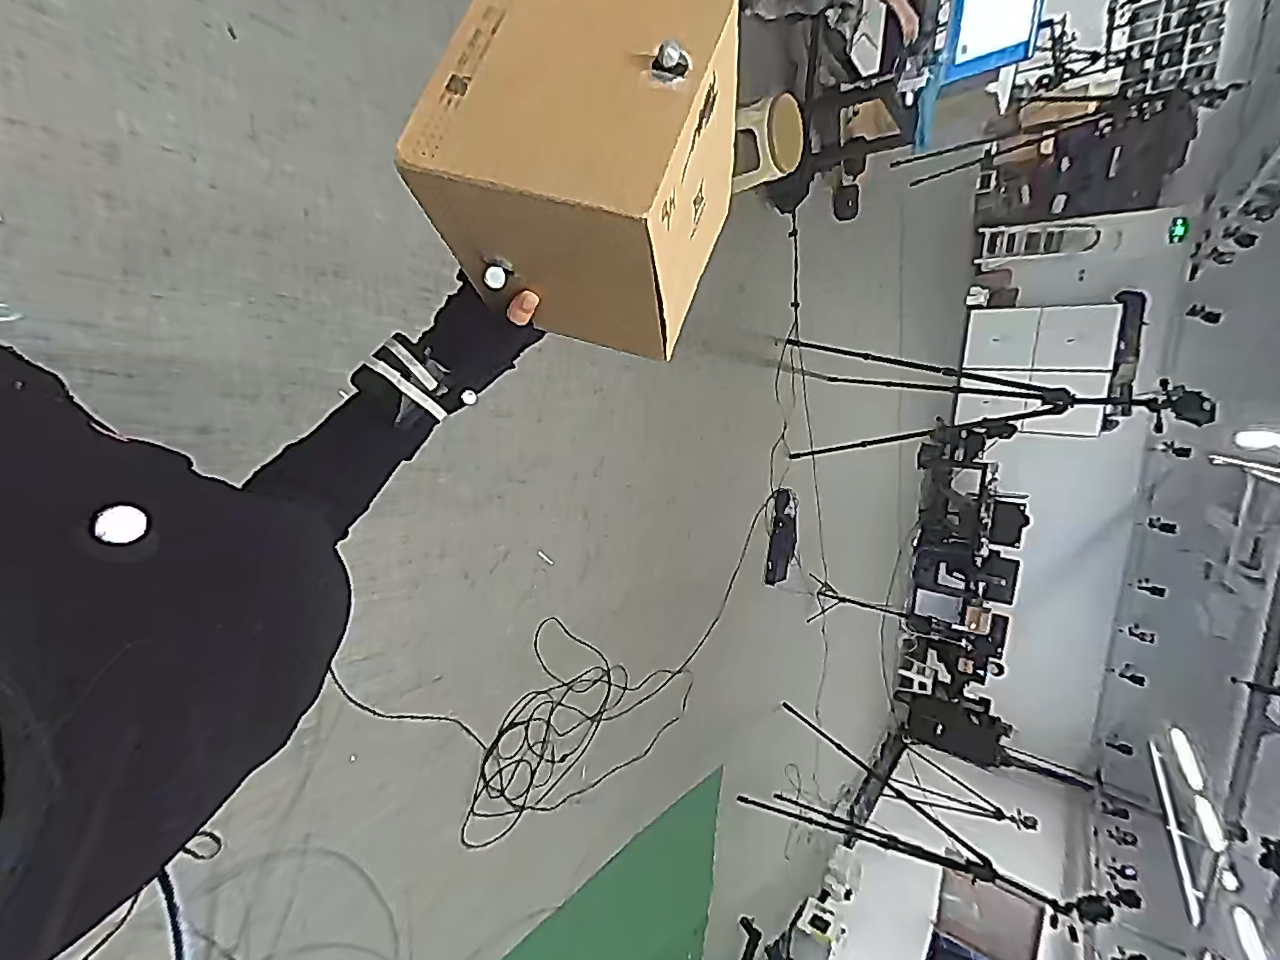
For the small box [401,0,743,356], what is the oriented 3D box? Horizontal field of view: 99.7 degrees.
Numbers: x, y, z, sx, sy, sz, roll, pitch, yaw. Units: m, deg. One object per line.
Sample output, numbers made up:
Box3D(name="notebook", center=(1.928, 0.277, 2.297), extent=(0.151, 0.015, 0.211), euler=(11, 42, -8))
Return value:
Box3D(name="small box", center=(-0.037, -0.224, 0.403), extent=(0.179, 0.176, 0.168), euler=(72, 37, -76))
